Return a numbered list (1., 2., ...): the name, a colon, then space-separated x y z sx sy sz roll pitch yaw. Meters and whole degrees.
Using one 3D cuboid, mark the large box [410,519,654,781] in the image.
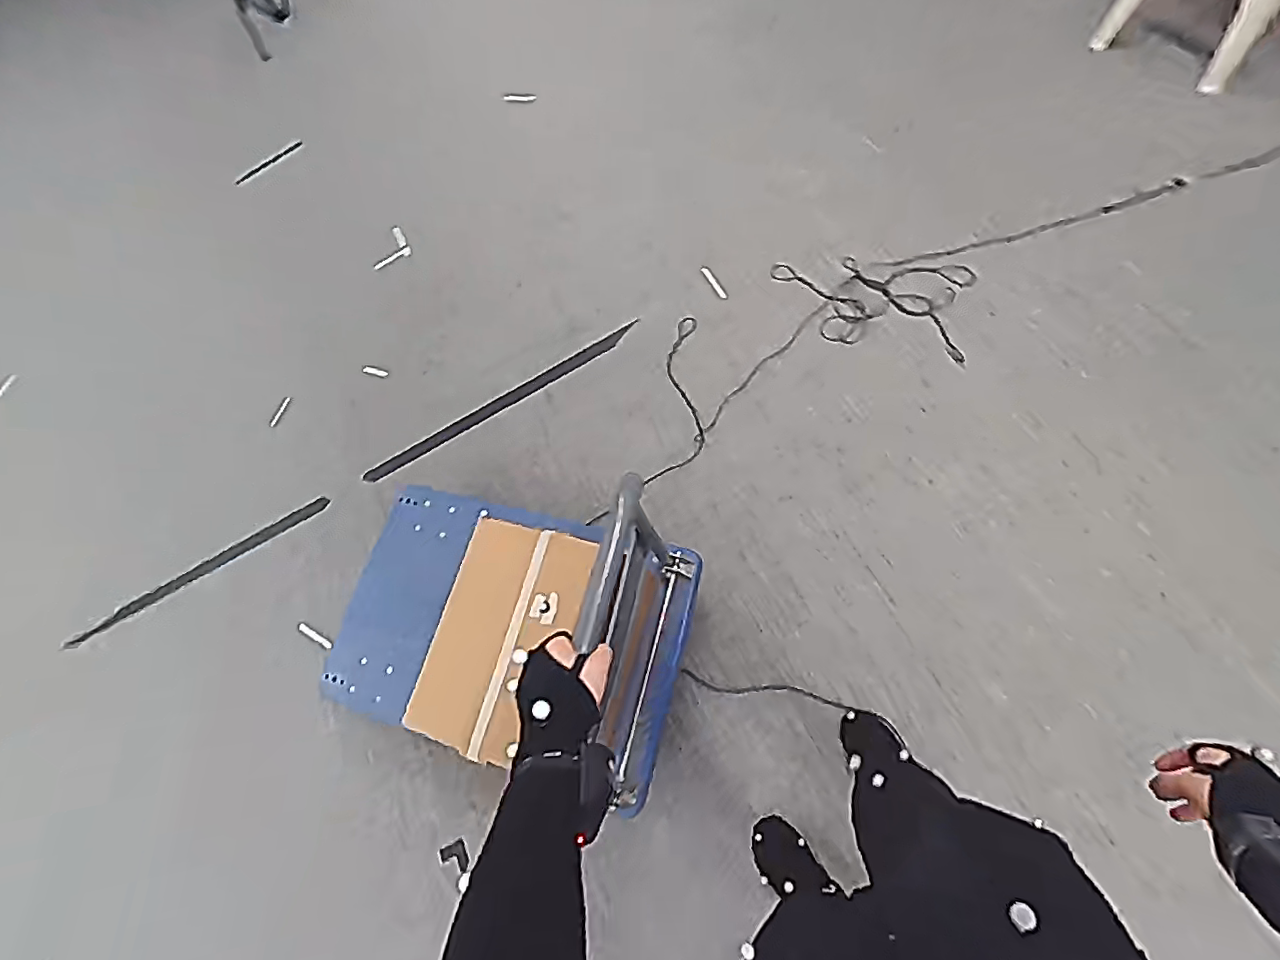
1. large box: -0.190 0.340 1.119 0.320 0.320 0.408 12 73 17
